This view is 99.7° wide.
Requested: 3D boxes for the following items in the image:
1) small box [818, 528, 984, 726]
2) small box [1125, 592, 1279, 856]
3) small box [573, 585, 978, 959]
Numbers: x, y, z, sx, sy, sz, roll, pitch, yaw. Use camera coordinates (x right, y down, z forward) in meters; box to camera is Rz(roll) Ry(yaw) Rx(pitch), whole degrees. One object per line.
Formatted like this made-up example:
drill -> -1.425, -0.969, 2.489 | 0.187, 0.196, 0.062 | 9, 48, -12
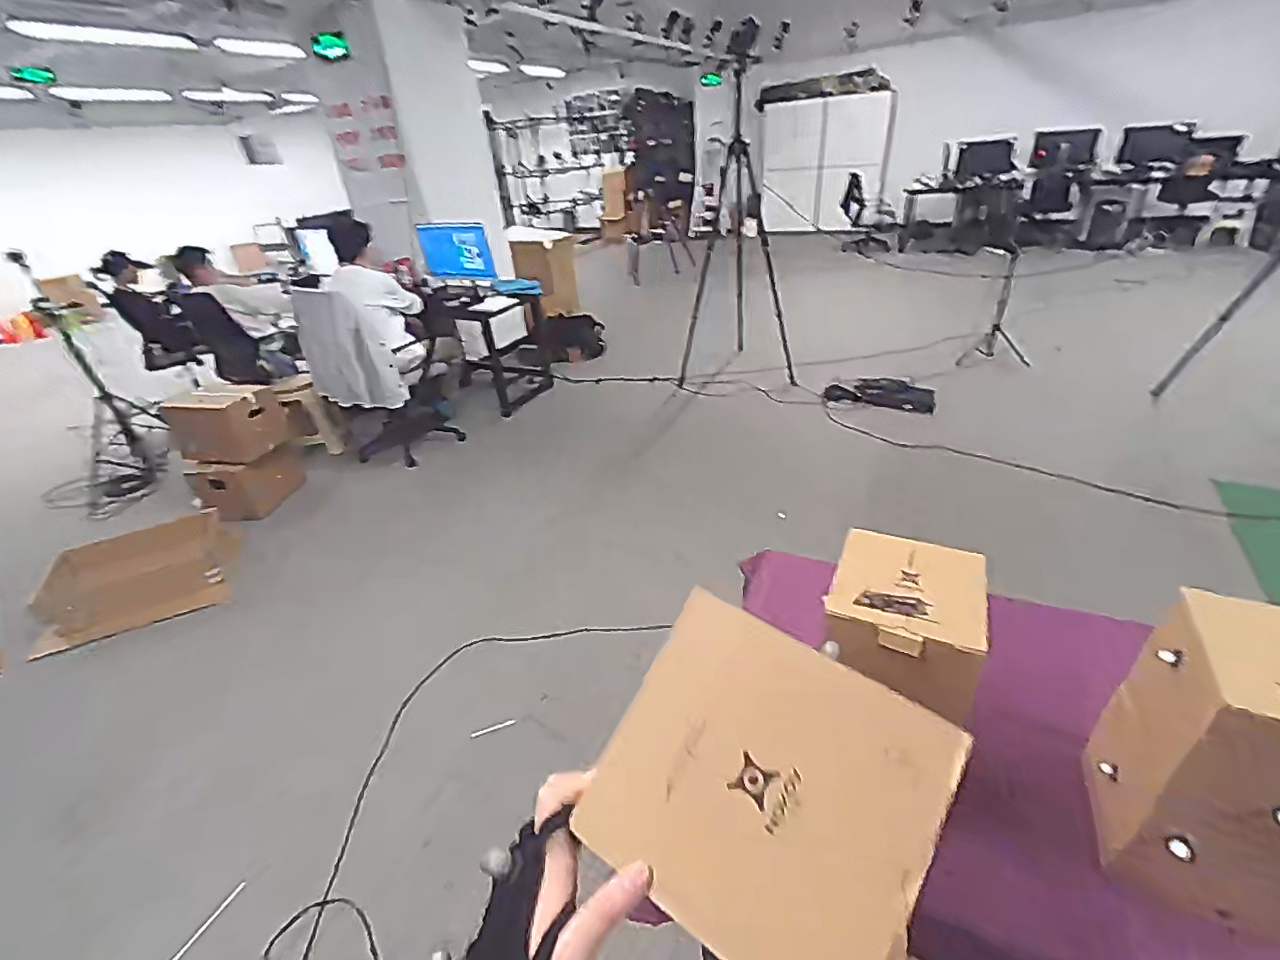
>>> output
small box -> 0.330, 0.194, 0.699 | 0.168, 0.176, 0.179 | 13, 35, 25
small box -> 0.646, 0.254, 0.560 | 0.168, 0.176, 0.179 | 13, 37, 27
small box -> 0.090, 0.200, 0.379 | 0.179, 0.176, 0.168 | 27, 76, 25
